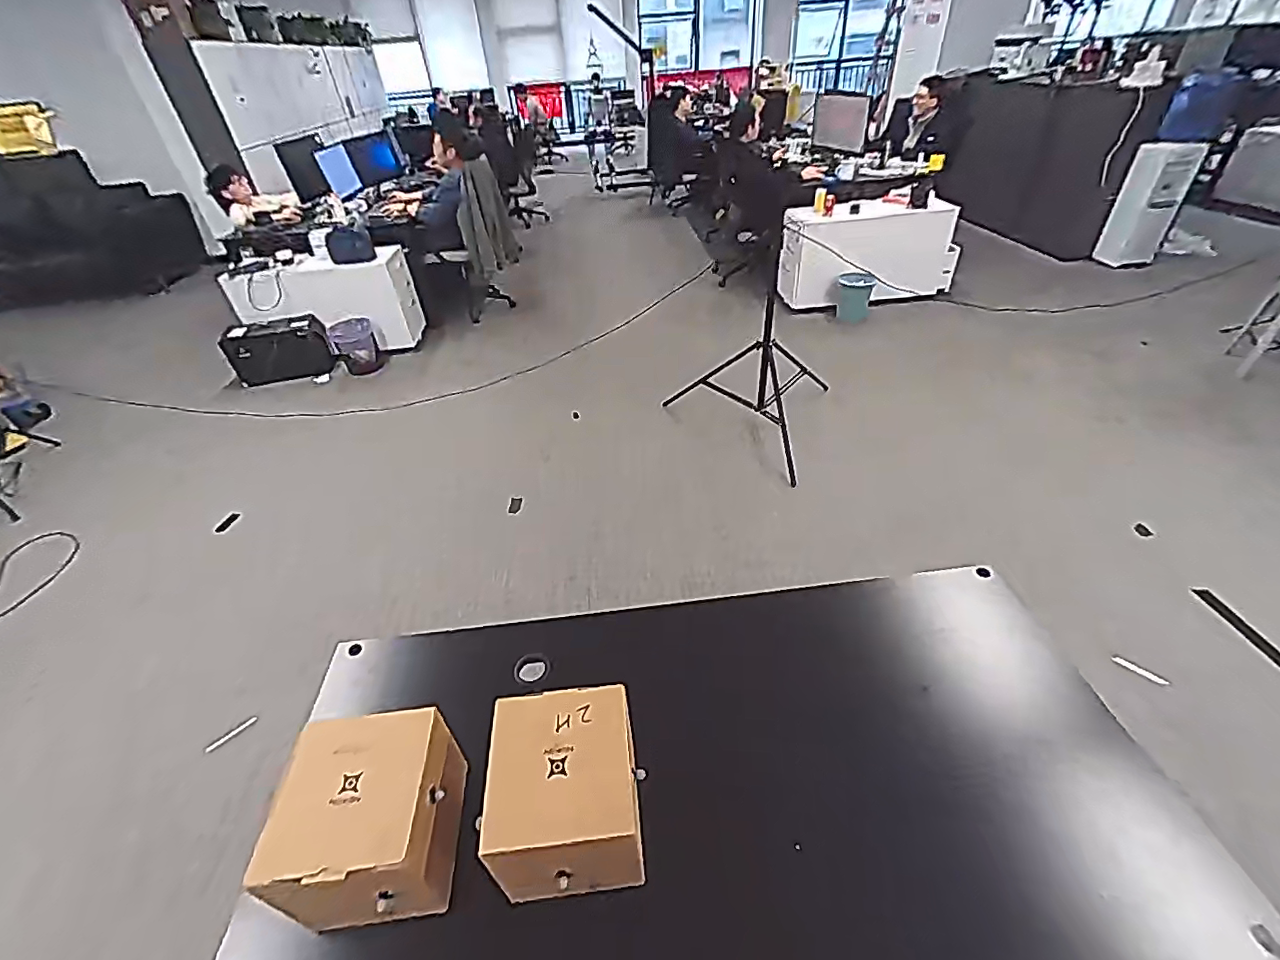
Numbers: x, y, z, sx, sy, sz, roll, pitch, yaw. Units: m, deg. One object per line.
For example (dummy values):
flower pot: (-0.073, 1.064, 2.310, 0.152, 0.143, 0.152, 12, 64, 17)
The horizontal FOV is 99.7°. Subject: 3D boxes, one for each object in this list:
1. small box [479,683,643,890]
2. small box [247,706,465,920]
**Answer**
small box: (-0.089, 0.385, 0.676, 0.168, 0.176, 0.179, -6, 38, -2)
small box: (-0.327, 0.413, 0.670, 0.168, 0.176, 0.179, -6, 37, -4)
